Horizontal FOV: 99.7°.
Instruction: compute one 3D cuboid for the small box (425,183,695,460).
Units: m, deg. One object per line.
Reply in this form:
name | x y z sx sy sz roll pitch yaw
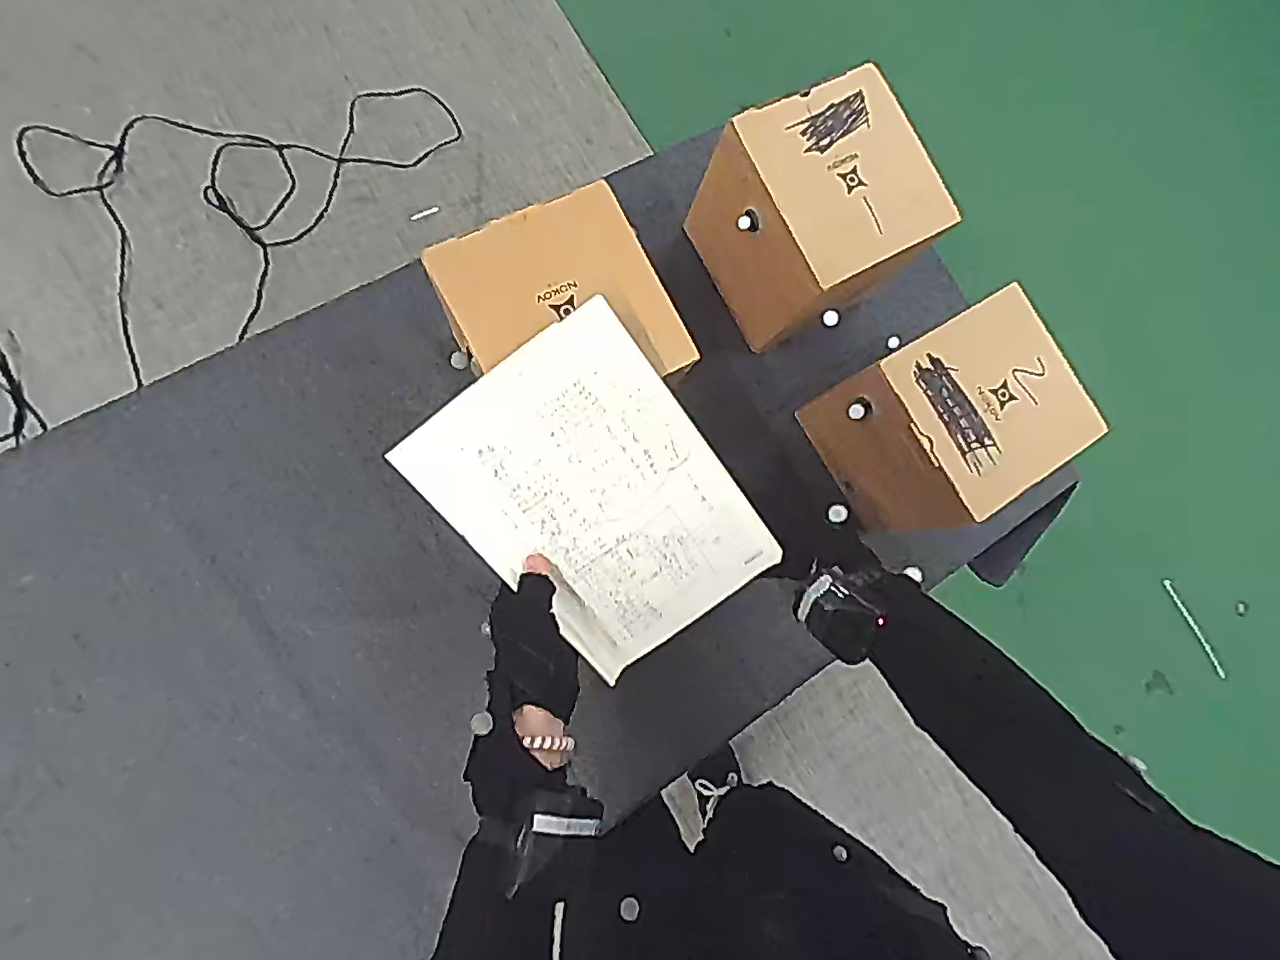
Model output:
small box | -0.073 -0.130 0.517 0.168 0.176 0.179 -28 88 -11
